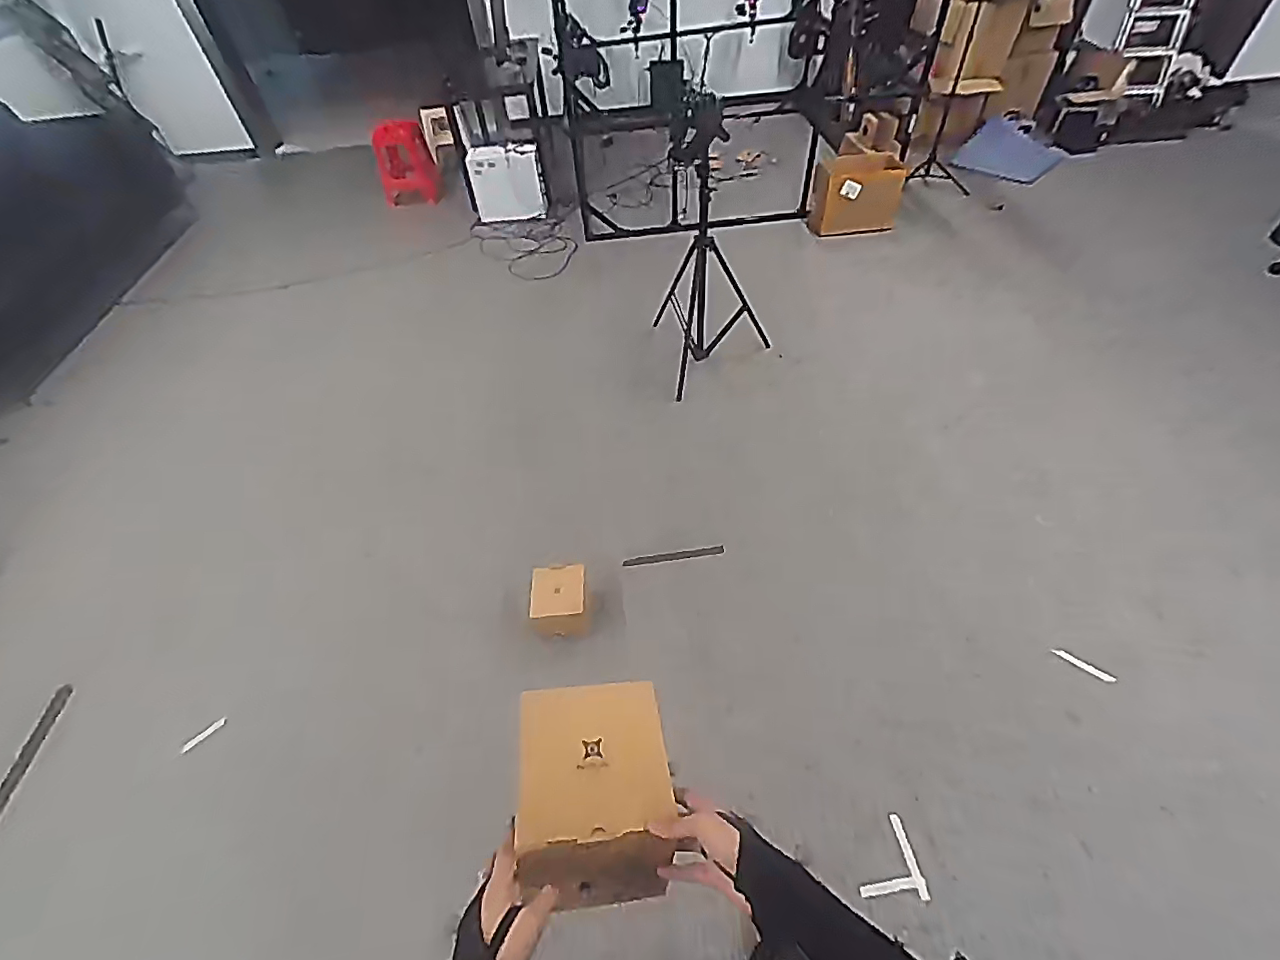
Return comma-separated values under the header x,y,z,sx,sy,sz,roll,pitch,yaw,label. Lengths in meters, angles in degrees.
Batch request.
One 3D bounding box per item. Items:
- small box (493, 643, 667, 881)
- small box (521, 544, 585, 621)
x,y,z,sx,sy,sz,roll,pitch,yaw,label
-0.073,0.311,0.612,0.168,0.176,0.179,-1,35,-10,small box
-0.267,0.322,1.695,0.168,0.176,0.179,-5,50,1,small box
